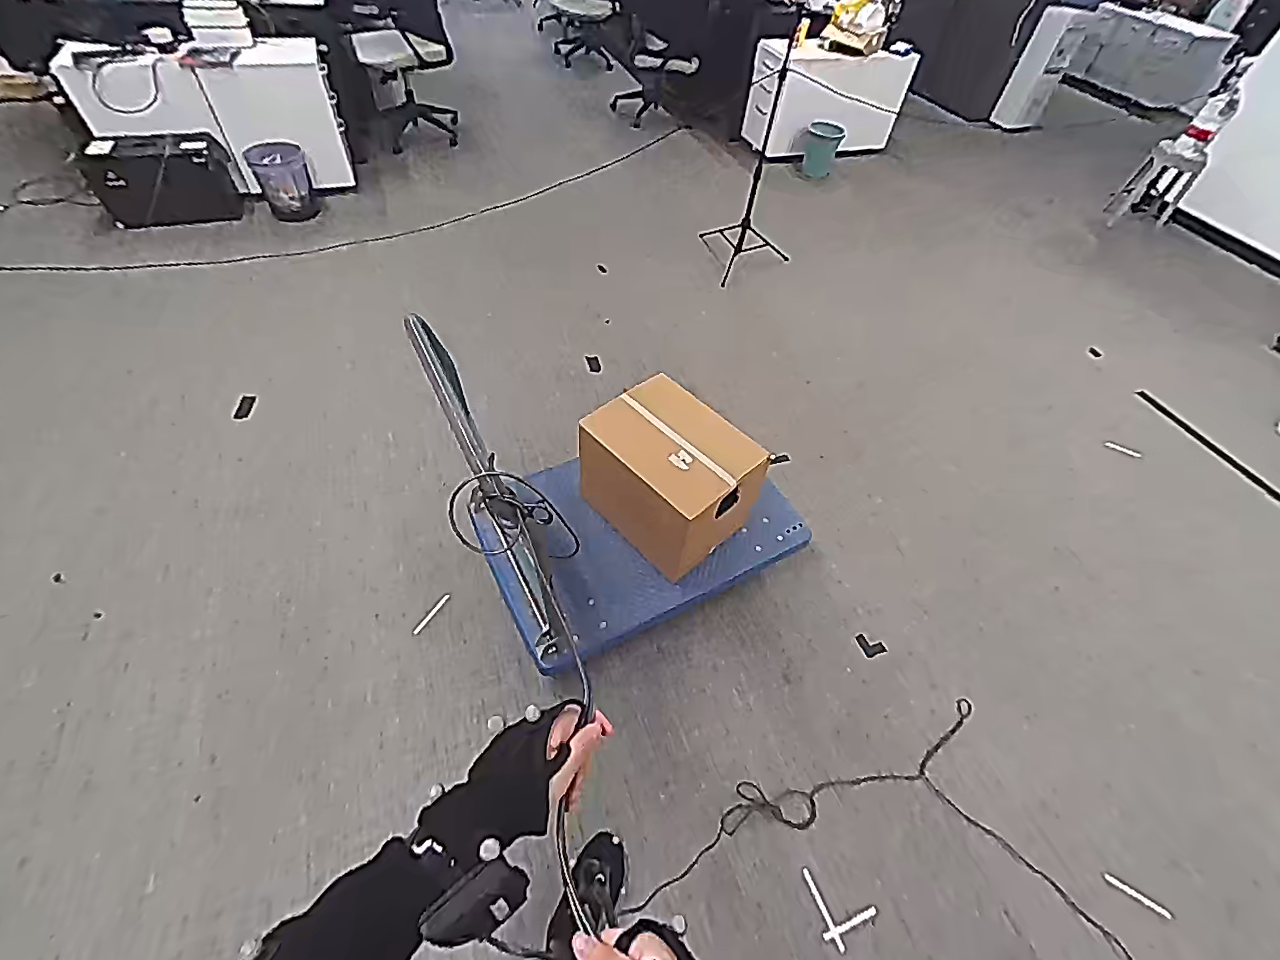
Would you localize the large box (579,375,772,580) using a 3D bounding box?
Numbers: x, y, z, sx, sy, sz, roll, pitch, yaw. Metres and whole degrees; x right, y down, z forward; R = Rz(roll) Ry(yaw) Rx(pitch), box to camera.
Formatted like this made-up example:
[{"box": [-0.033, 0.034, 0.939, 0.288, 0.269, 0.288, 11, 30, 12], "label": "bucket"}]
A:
[{"box": [0.076, -0.011, 1.485, 0.320, 0.320, 0.408, -35, 64, -28], "label": "large box"}]
